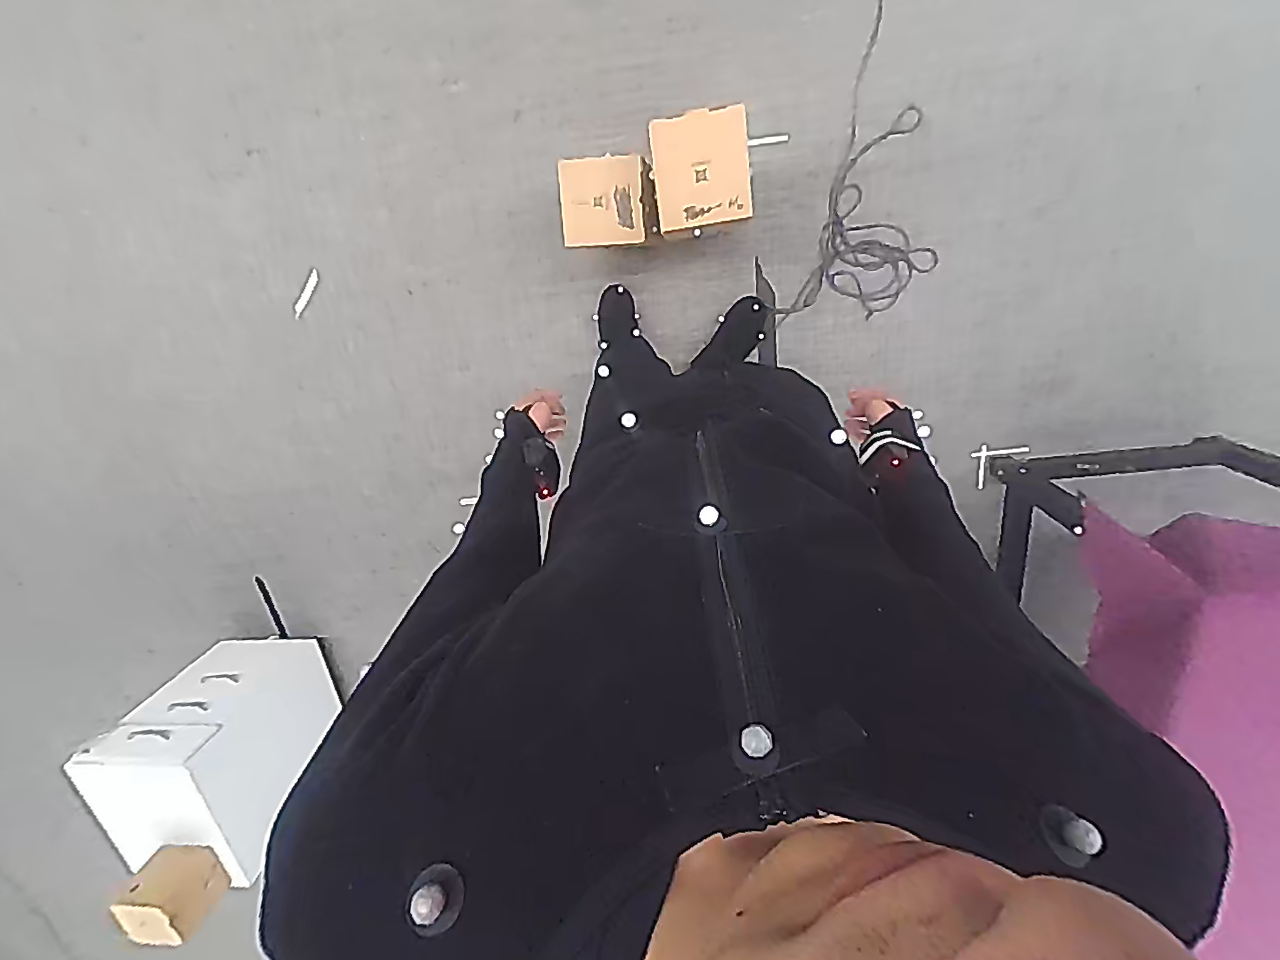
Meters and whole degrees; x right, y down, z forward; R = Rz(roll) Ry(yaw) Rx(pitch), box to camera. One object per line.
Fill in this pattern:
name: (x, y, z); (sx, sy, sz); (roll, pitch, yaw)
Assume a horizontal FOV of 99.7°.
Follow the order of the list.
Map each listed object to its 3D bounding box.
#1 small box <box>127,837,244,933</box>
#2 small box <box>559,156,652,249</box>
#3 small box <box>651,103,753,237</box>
small box: (-1.343, 1.197, 1.609); (0.179, 0.176, 0.168); (-4, 112, 9)
small box: (-0.066, -0.601, 1.185); (0.179, 0.176, 0.168); (0, 112, 9)
small box: (0.116, -0.560, 1.000); (0.168, 0.176, 0.179); (-5, 110, 10)
